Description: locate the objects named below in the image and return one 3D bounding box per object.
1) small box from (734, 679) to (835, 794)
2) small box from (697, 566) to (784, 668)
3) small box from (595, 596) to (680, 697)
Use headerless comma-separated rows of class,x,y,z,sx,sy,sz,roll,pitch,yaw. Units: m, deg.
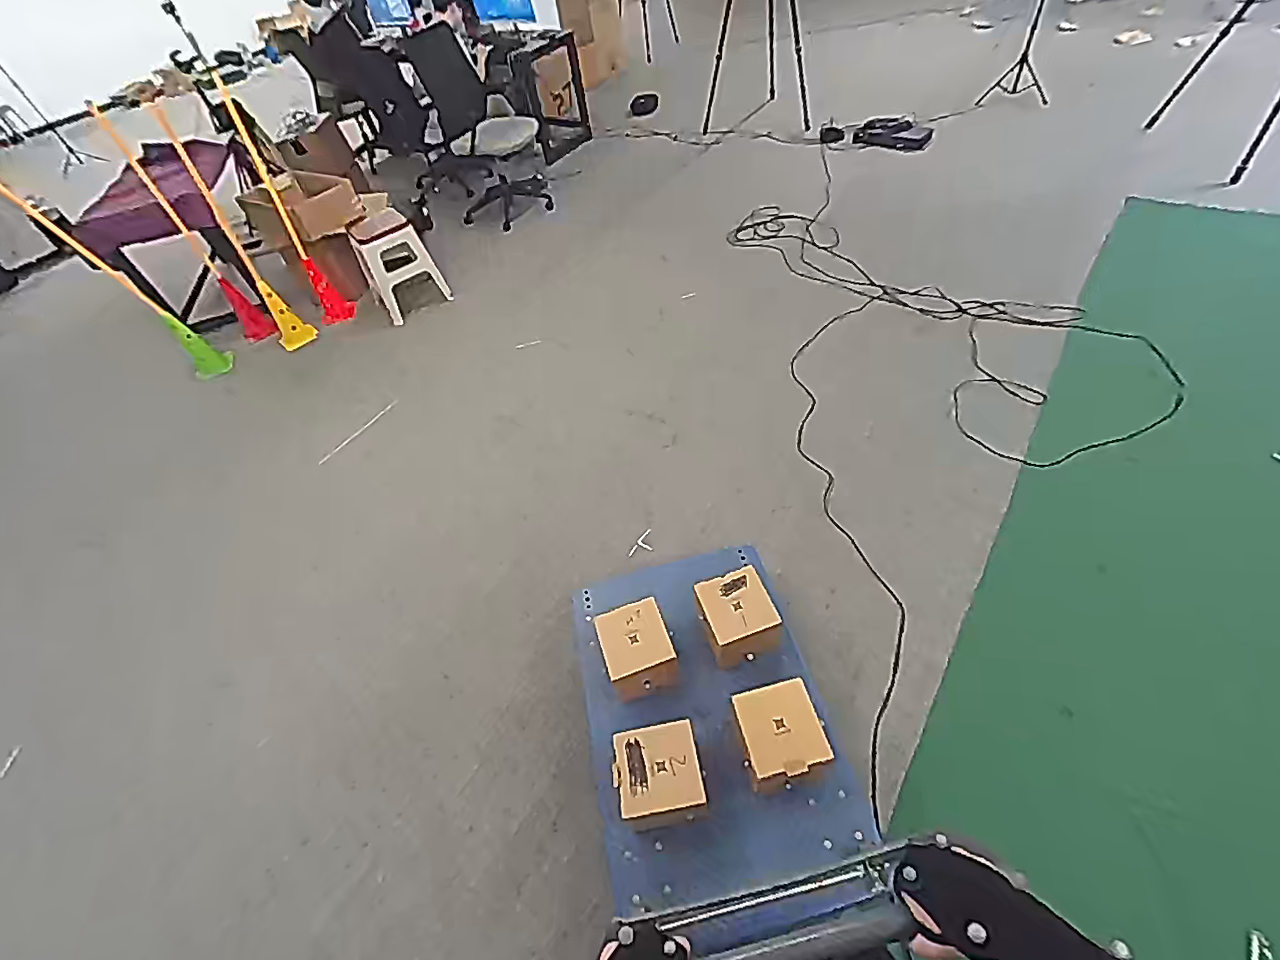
small box,0.313,0.576,1.212,0.168,0.176,0.179,-14,50,-2
small box,0.254,0.357,1.403,0.168,0.176,0.179,-18,51,-5
small box,-0.003,0.433,1.383,0.168,0.176,0.179,-18,50,-6
